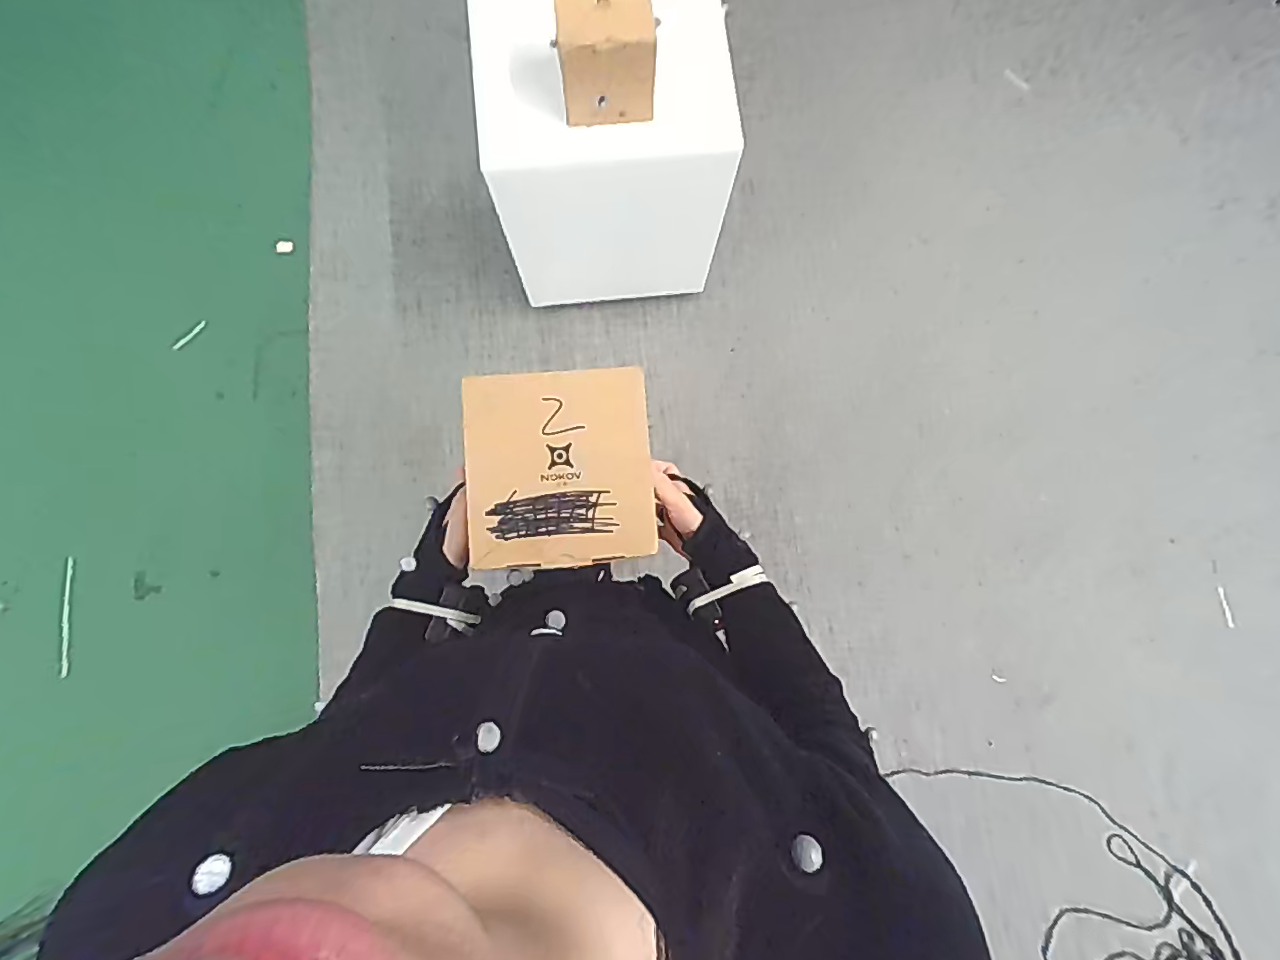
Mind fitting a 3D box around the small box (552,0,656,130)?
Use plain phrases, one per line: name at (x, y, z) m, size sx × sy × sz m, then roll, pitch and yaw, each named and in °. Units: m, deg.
small box at (-0.067, -0.772, 0.968) m, size 0.168 × 0.176 × 0.179 m, roll -7°, pitch 80°, yaw -3°
